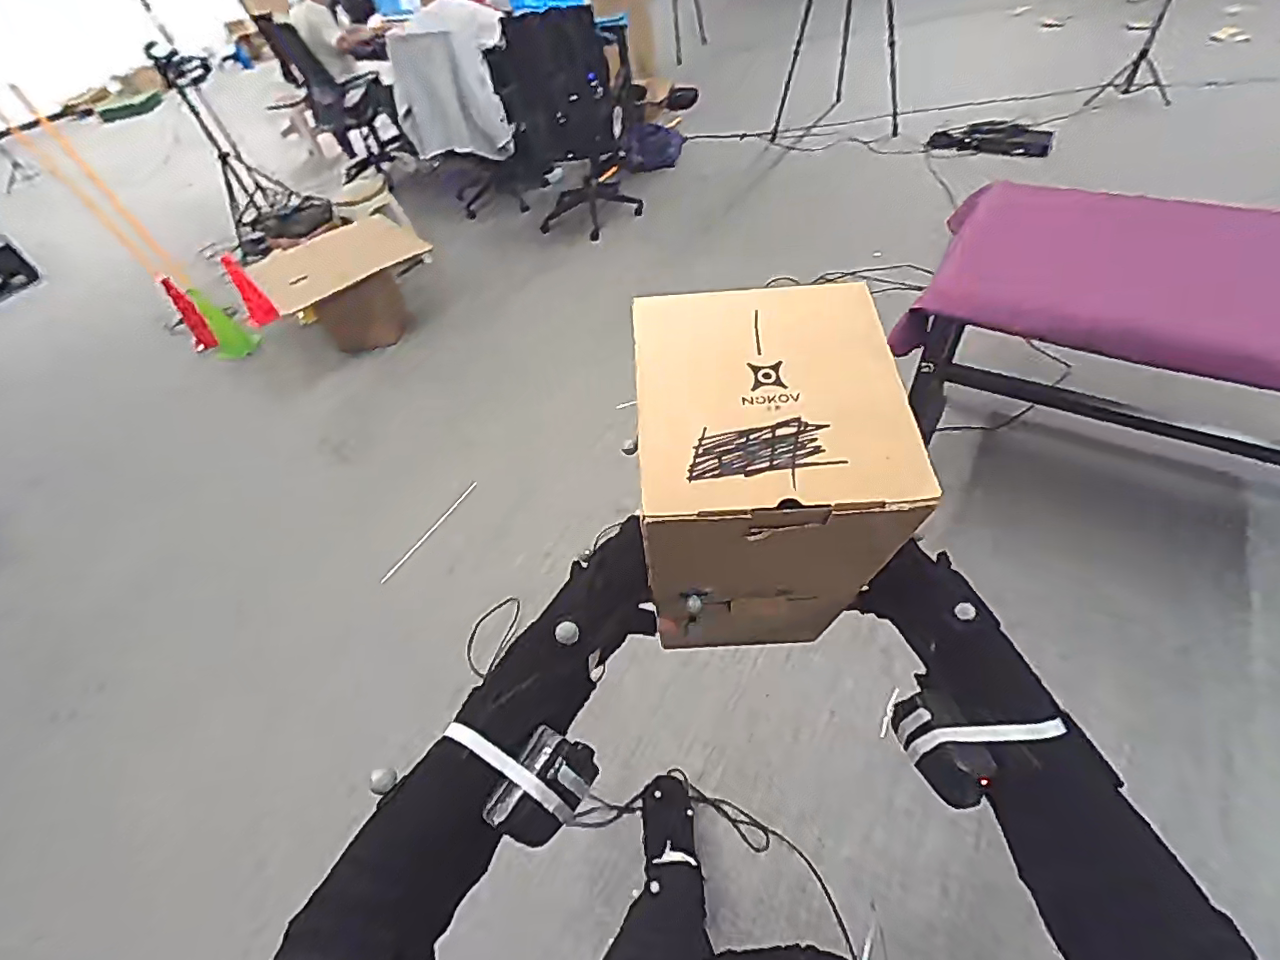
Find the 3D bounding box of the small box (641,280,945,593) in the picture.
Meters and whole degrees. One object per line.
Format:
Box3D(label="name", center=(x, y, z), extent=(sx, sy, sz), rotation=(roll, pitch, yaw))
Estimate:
Box3D(label="small box", center=(0.088, -0.021, 0.401), extent=(0.168, 0.176, 0.179), rotation=(1, 62, 2))
